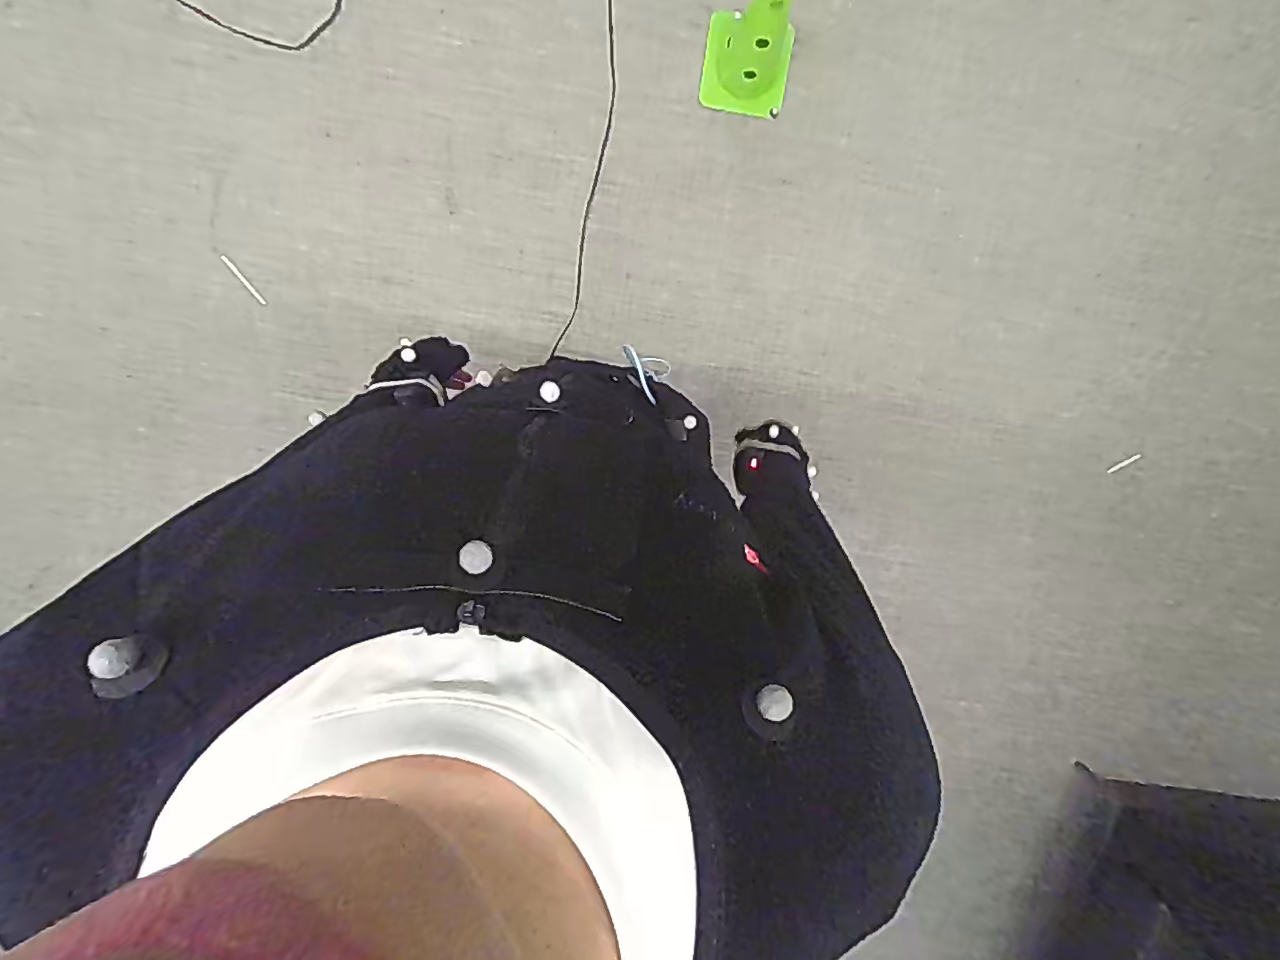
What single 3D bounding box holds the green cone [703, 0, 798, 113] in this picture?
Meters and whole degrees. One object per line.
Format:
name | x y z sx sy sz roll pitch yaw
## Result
green cone | 0.259 -0.941 1.095 0.202 0.368 0.200 8 103 -2
